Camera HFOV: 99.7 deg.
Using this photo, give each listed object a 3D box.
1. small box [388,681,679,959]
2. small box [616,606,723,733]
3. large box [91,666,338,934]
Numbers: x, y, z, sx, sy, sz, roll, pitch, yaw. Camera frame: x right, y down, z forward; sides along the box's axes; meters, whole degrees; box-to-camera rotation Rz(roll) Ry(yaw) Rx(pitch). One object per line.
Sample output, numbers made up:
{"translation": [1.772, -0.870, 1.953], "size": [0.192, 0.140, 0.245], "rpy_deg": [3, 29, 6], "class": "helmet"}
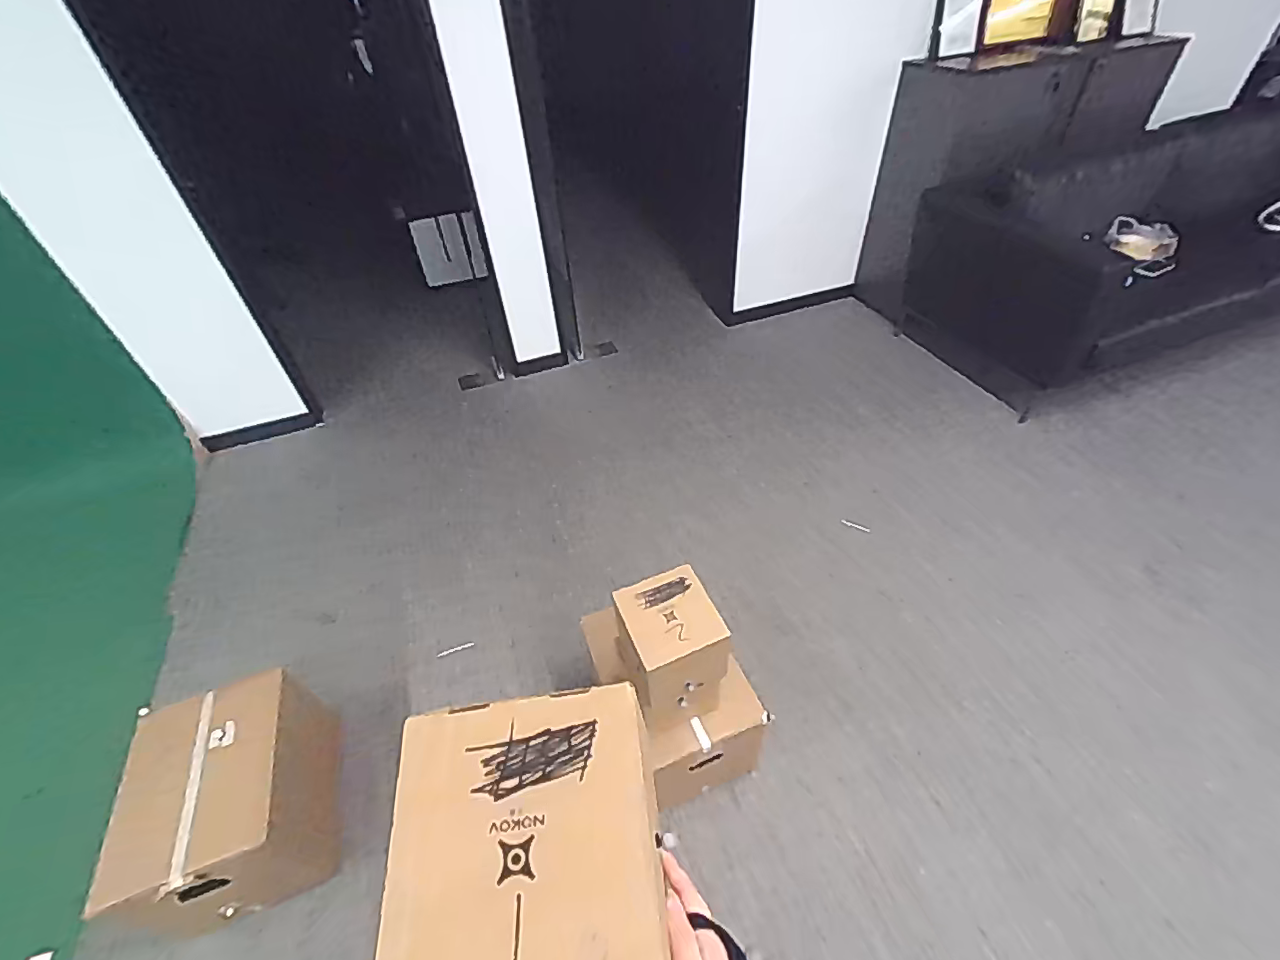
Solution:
{"translation": [-0.064, 0.272, 0.406], "size": [0.168, 0.176, 0.179], "rpy_deg": [-8, 54, 0], "class": "small box"}
{"translation": [0.061, 0.410, 1.168], "size": [0.179, 0.176, 0.168], "rpy_deg": [-20, 47, -13], "class": "small box"}
{"translation": [-0.931, 0.731, 1.259], "size": [0.320, 0.320, 0.408], "rpy_deg": [-18, 45, -13], "class": "large box"}
